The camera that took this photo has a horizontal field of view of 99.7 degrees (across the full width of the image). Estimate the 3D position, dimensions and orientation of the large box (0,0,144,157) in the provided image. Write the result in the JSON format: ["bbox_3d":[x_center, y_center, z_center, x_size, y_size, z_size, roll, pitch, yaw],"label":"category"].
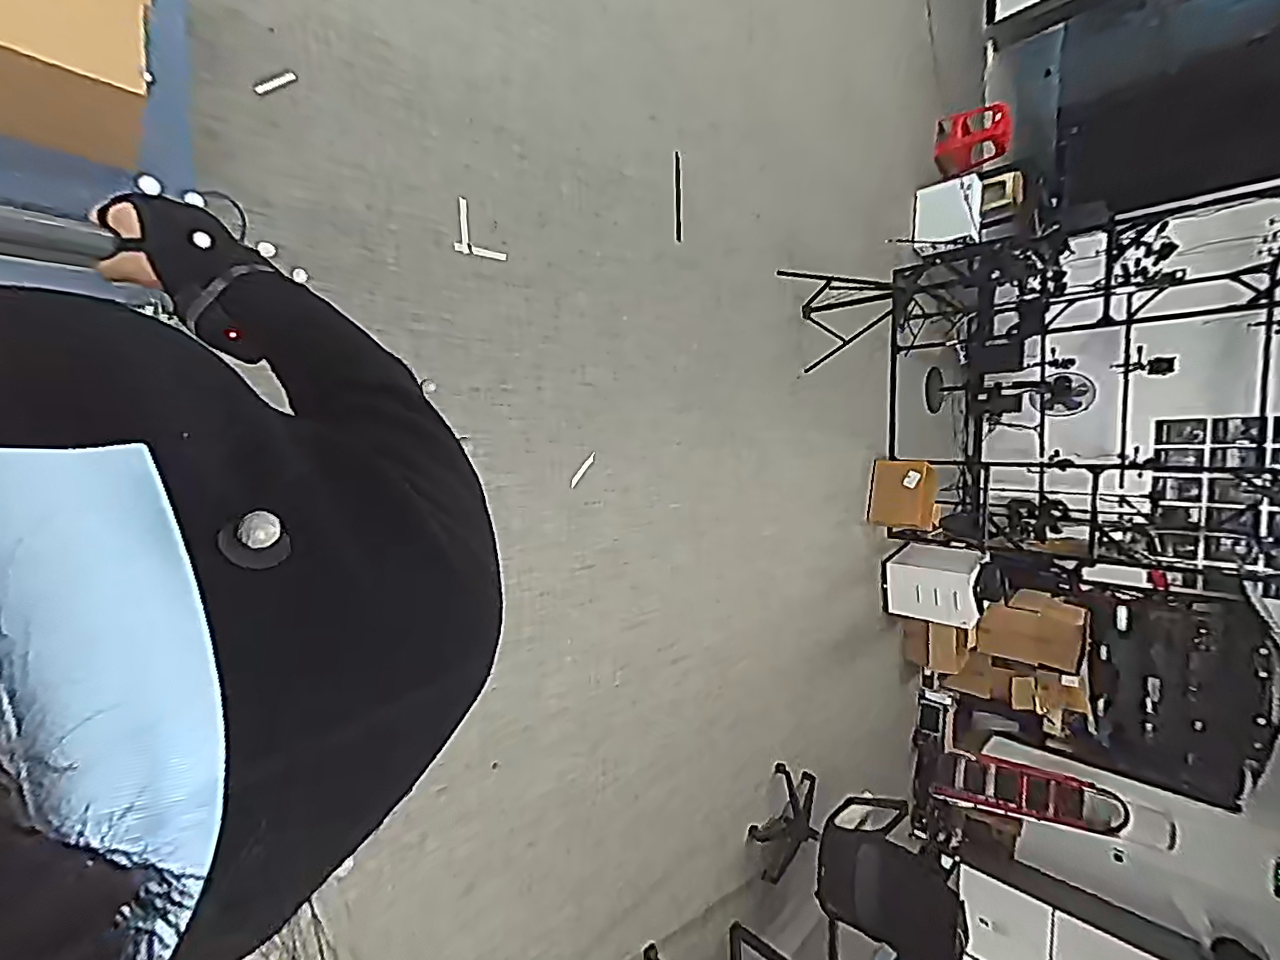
[{"bbox_3d":[-0.957,-0.713,0.730,0.408,0.320,0.320,-3,94,-45],"label":"large box"}]
